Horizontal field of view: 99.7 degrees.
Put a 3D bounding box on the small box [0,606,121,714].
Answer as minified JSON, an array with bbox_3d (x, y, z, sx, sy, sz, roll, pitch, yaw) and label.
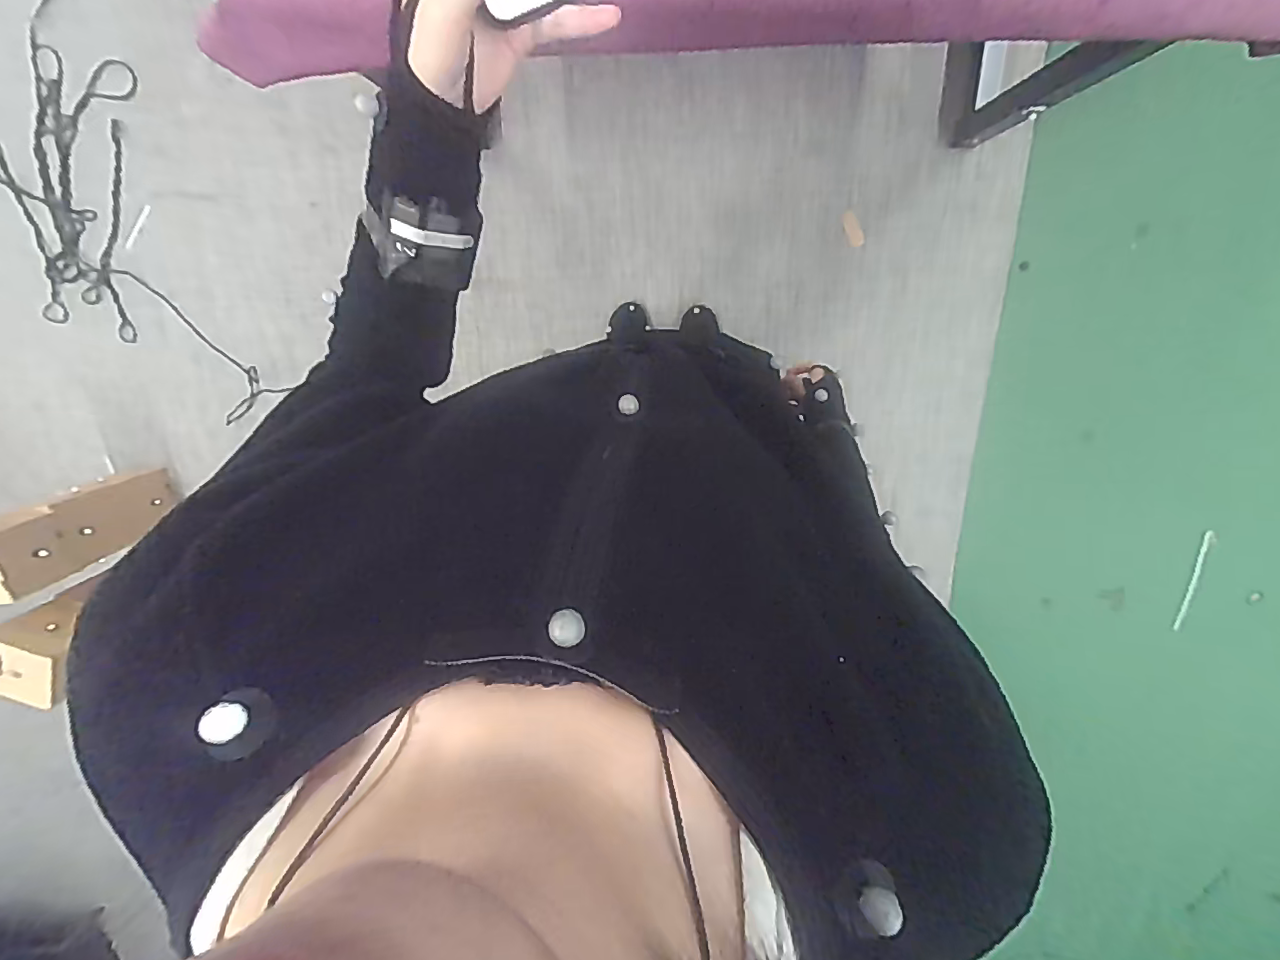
[{"bbox_3d":[-1.473,0.441,1.354,0.179,0.176,0.168,21,108,-3],"label":"small box"}]

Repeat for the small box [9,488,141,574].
[{"bbox_3d":[-1.492,0.141,1.427,0.168,0.176,0.179,-11,107,6],"label":"small box"}]

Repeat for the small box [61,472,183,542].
[{"bbox_3d":[-1.495,0.084,1.580,0.179,0.176,0.168,-7,107,6],"label":"small box"}]

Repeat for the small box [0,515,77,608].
[{"bbox_3d":[-1.496,0.189,1.271,0.179,0.176,0.168,-4,108,3],"label":"small box"}]
